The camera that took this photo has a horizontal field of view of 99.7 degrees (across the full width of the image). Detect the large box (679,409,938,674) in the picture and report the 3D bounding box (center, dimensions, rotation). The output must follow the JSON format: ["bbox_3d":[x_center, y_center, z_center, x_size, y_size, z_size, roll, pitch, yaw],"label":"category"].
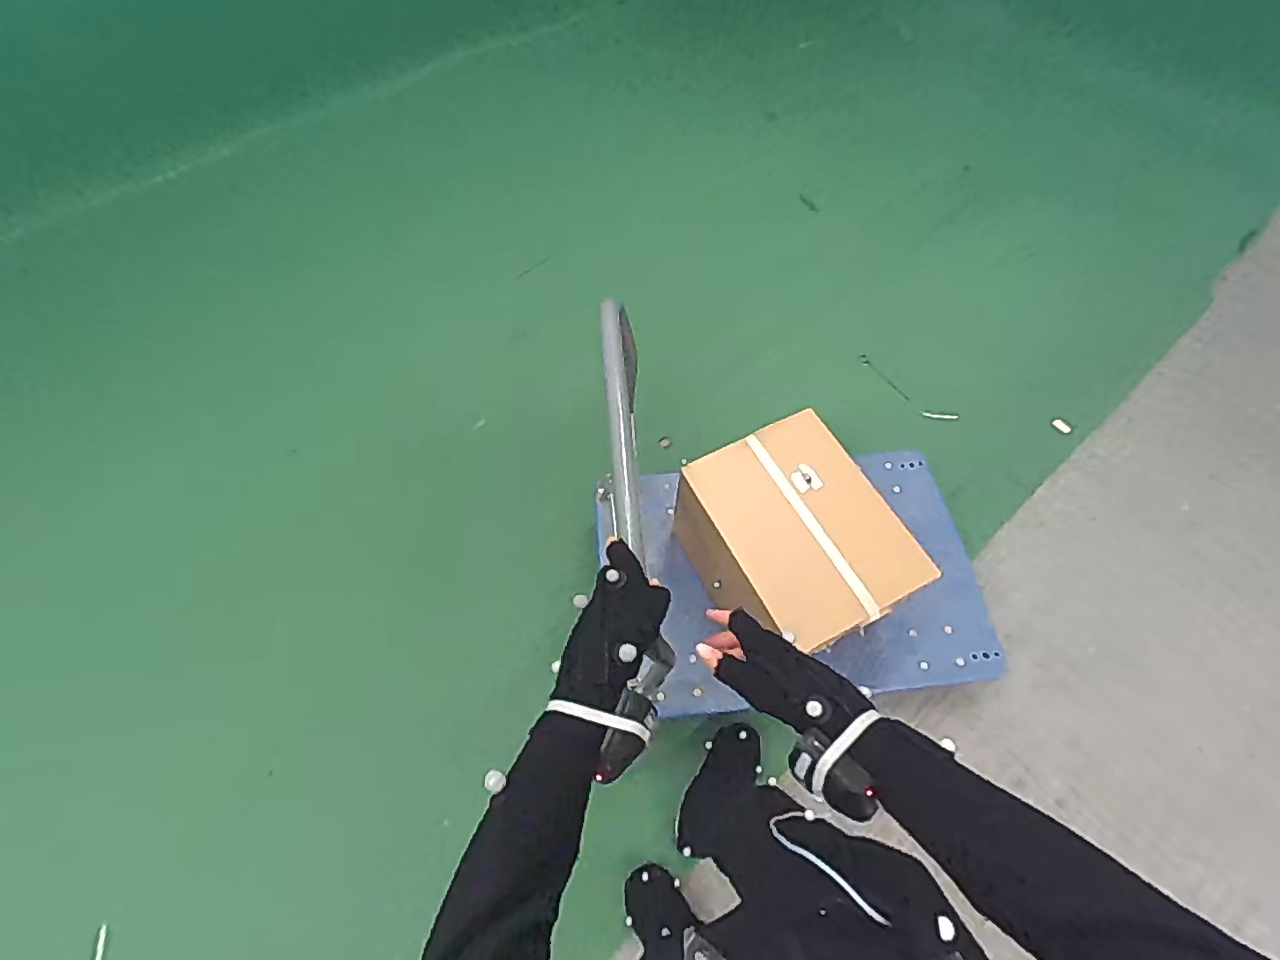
[{"bbox_3d":[0.311,0.137,1.141,0.320,0.320,0.408,-24,65,-12],"label":"large box"}]
